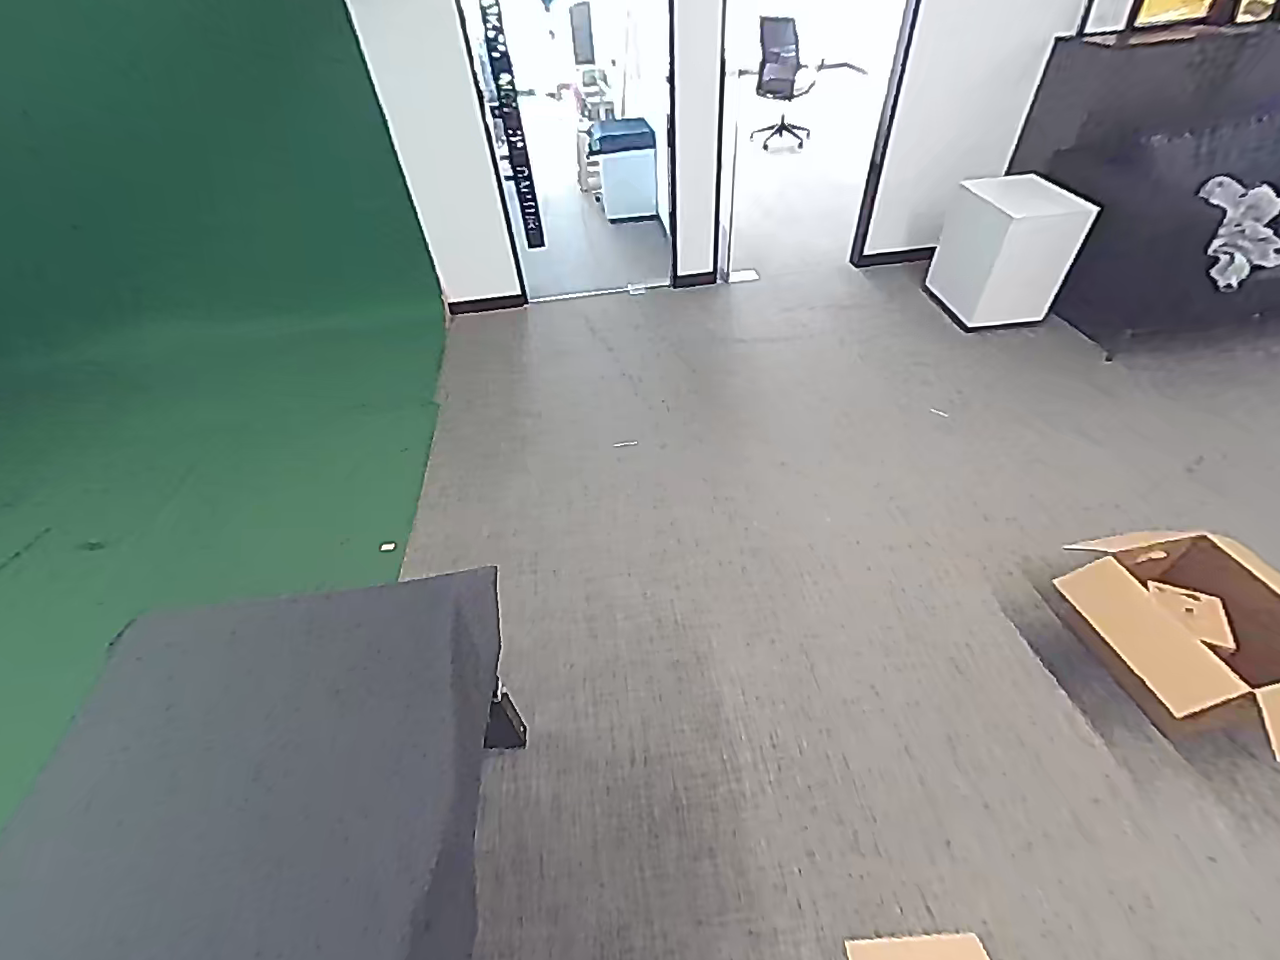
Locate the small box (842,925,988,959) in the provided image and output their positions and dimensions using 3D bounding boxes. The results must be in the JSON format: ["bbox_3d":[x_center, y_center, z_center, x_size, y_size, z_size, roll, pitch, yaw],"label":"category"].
[{"bbox_3d":[0.352,0.677,0.630,0.168,0.176,0.179,-11,9,8],"label":"small box"}]
